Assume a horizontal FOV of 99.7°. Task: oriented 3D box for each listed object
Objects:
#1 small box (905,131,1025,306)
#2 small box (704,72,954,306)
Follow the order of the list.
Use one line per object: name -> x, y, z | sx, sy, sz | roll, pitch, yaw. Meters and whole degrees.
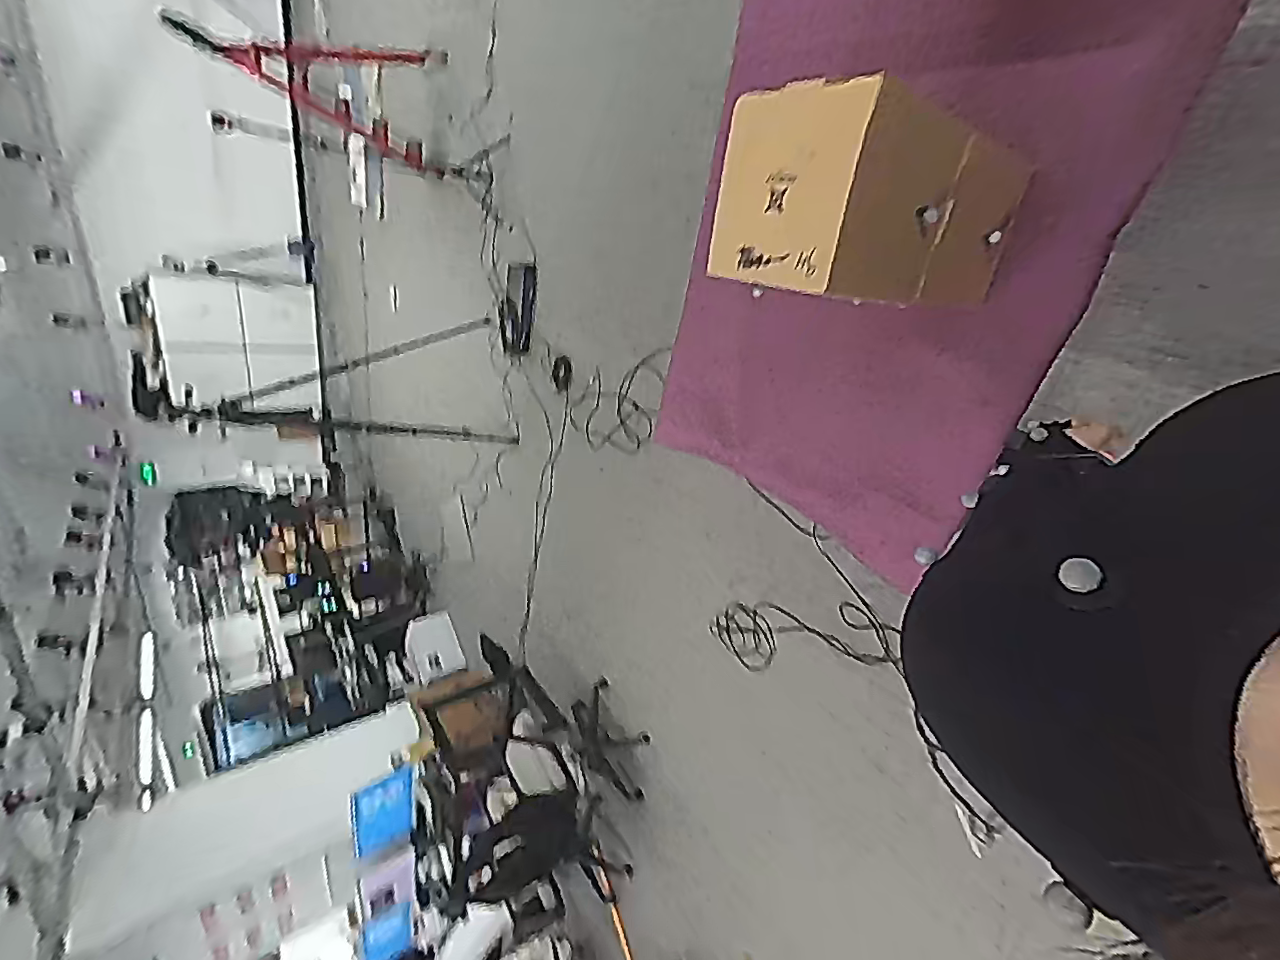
small box -> 0.327, -0.317, 0.673 | 0.179, 0.176, 0.168 | 35, 125, 45
small box -> 0.198, -0.293, 0.575 | 0.168, 0.176, 0.179 | 34, 123, 46
